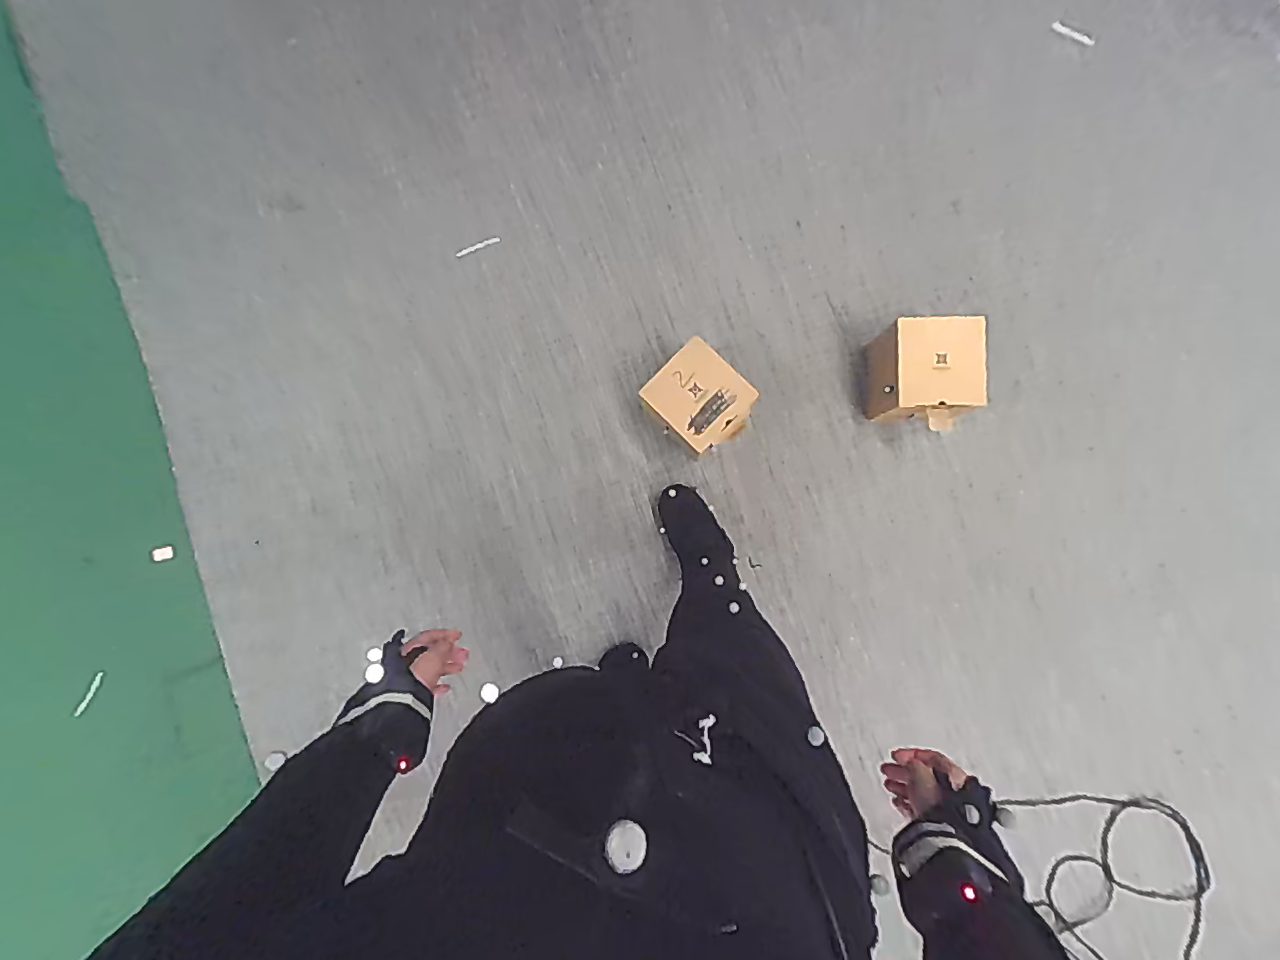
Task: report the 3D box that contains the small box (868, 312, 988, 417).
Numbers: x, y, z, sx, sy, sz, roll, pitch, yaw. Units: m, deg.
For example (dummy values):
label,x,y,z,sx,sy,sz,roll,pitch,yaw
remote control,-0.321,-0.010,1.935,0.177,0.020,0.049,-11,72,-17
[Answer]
label,x,y,z,sx,sy,sz,roll,pitch,yaw
small box,0.577,-0.228,1.101,0.168,0.176,0.179,0,88,3
